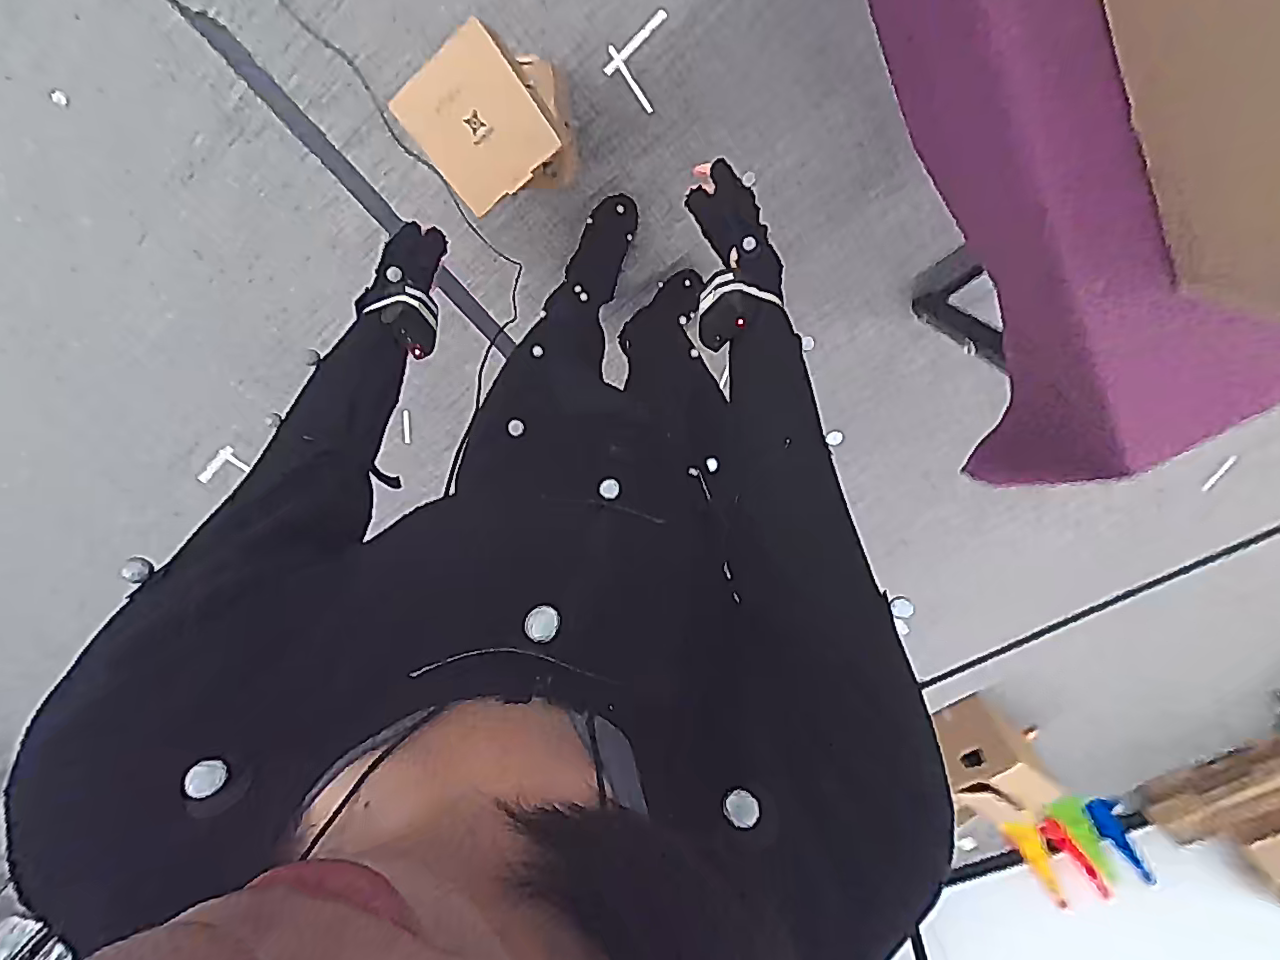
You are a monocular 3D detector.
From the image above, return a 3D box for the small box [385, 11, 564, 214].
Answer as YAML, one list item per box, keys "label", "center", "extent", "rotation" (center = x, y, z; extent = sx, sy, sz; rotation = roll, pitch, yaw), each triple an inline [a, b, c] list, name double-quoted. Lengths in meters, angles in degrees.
- label: "small box"
  center: [-0.227, -0.531, 0.798]
  extent: [0.168, 0.176, 0.179]
  rotation: [-33, 119, 16]

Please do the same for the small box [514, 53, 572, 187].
- label: "small box"
  center: [-0.214, -0.615, 0.939]
  extent: [0.168, 0.176, 0.179]
  rotation: [-5, 123, 1]

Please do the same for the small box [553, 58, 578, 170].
- label: "small box"
  center: [-0.220, -0.710, 1.072]
  extent: [0.168, 0.176, 0.179]
  rotation: [-7, 124, 2]
